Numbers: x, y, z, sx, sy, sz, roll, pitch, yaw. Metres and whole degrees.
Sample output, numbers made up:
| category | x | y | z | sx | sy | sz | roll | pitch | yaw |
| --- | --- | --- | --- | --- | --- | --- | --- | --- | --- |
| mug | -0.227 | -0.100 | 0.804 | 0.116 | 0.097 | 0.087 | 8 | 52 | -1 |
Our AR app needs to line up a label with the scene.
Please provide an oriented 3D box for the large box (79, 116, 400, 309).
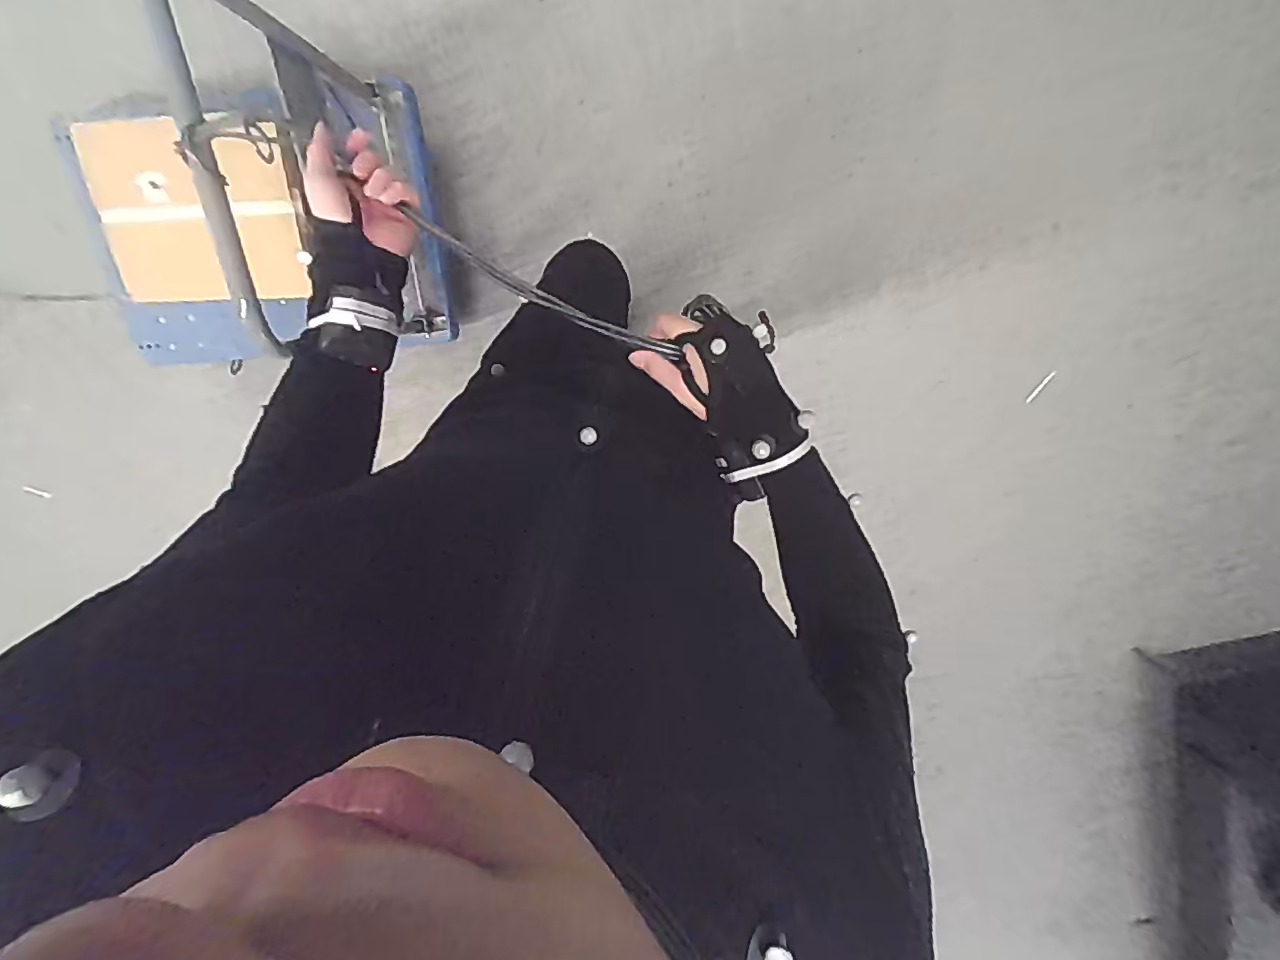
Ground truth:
| category | x | y | z | sx | sy | sz | roll | pitch | yaw |
| --- | --- | --- | --- | --- | --- | --- | --- | --- | --- |
| large box | -0.796 | -0.540 | 1.143 | 0.408 | 0.320 | 0.320 | 1 | 110 | 6 |
